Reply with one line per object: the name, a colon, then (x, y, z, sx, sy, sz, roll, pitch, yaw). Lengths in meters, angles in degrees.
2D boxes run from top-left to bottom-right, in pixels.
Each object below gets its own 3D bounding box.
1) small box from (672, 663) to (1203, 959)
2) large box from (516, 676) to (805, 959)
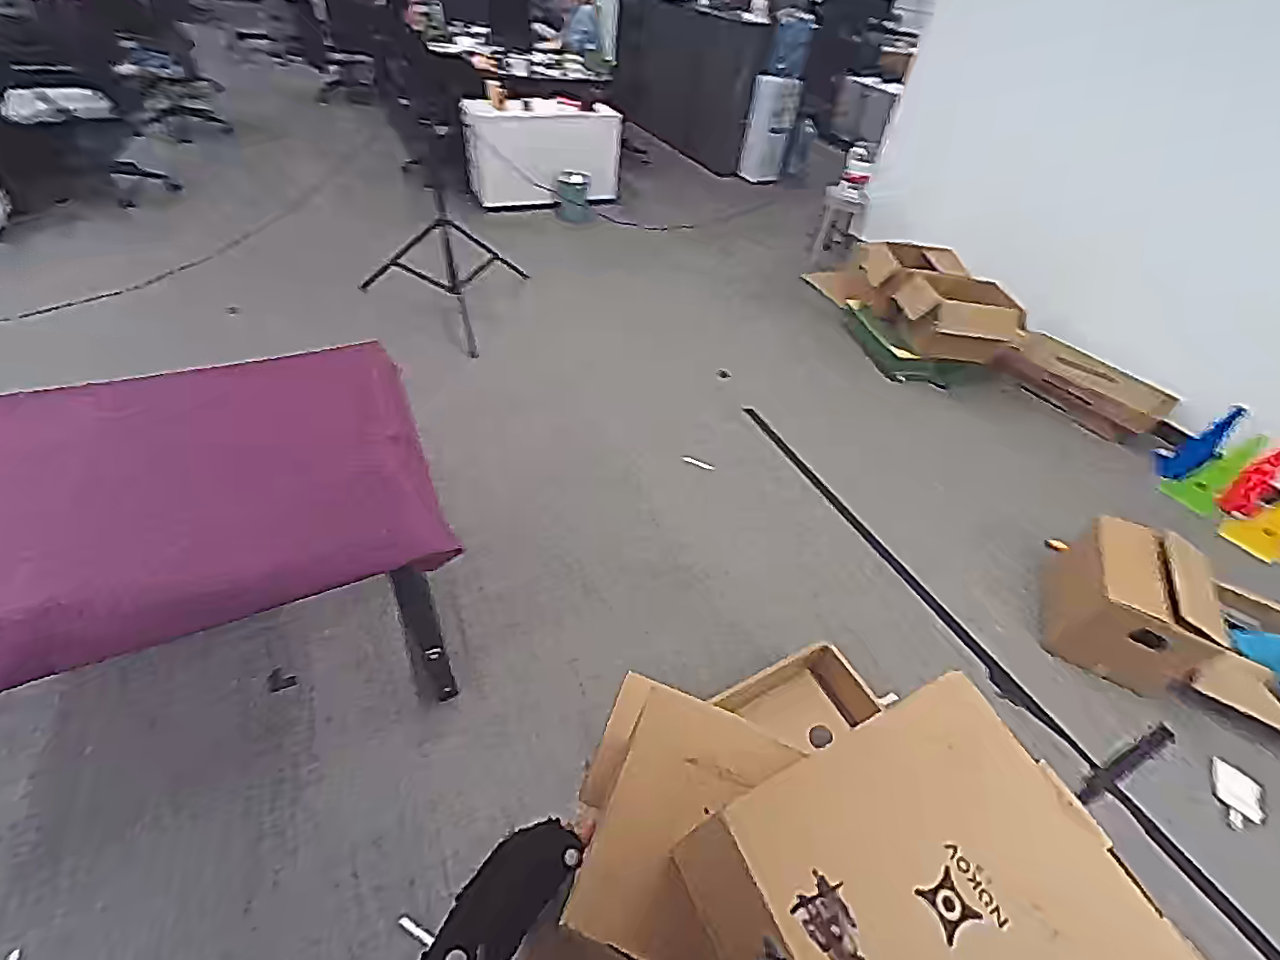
small box: (0.138, 0.241, 0.315, 0.179, 0.176, 0.168, -18, 54, -22)
large box: (0.093, 0.493, 0.634, 0.408, 0.320, 0.320, 19, 50, 6)
